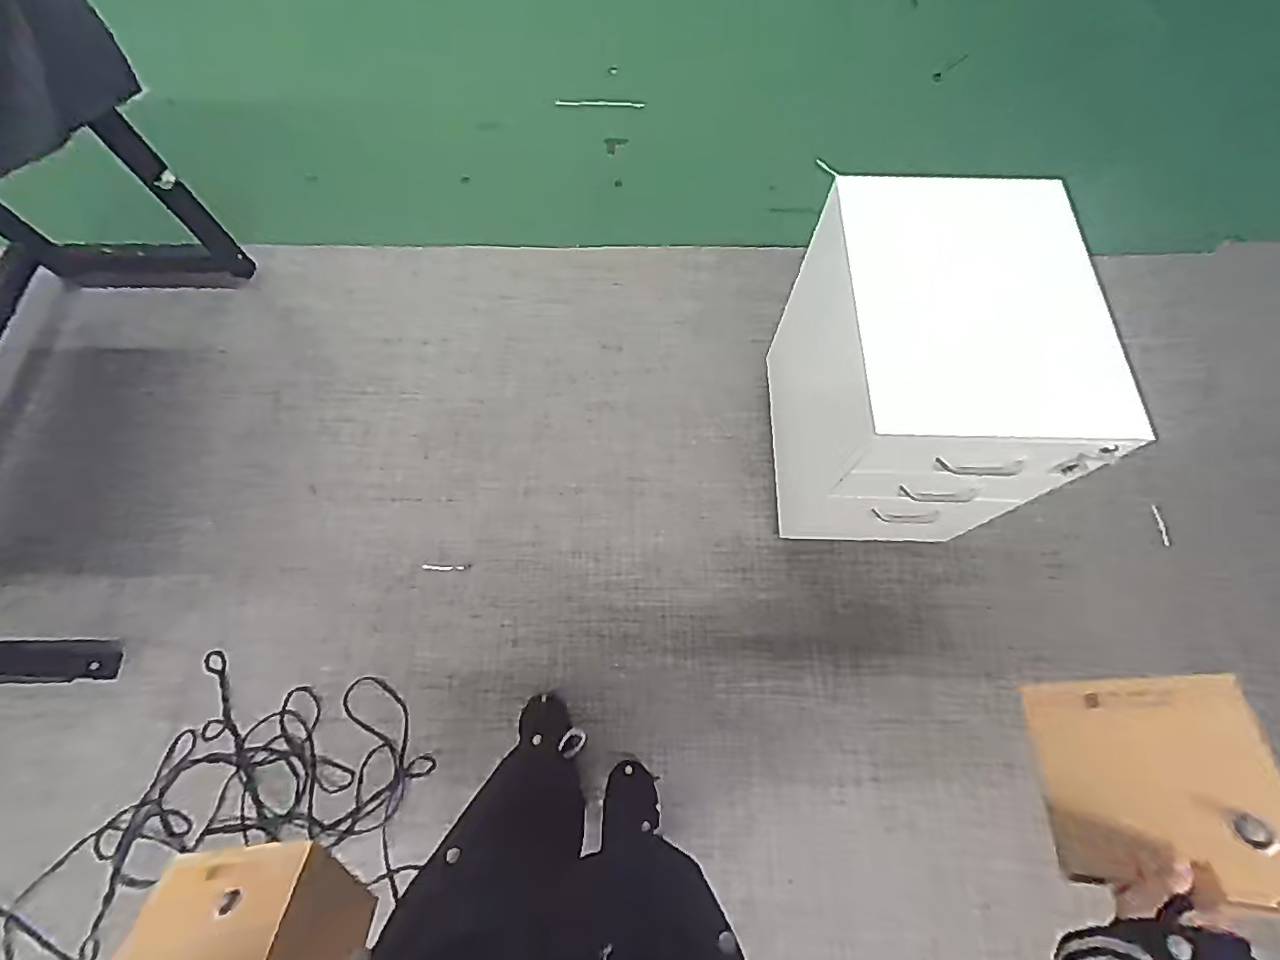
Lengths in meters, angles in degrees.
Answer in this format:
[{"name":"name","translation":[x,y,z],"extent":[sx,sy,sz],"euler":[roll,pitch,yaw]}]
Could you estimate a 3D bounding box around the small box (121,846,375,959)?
[{"name":"small box","translation":[-0.419,0.522,0.580],"extent":[0.168,0.179,0.176],"euler":[-10,36,3]}]
